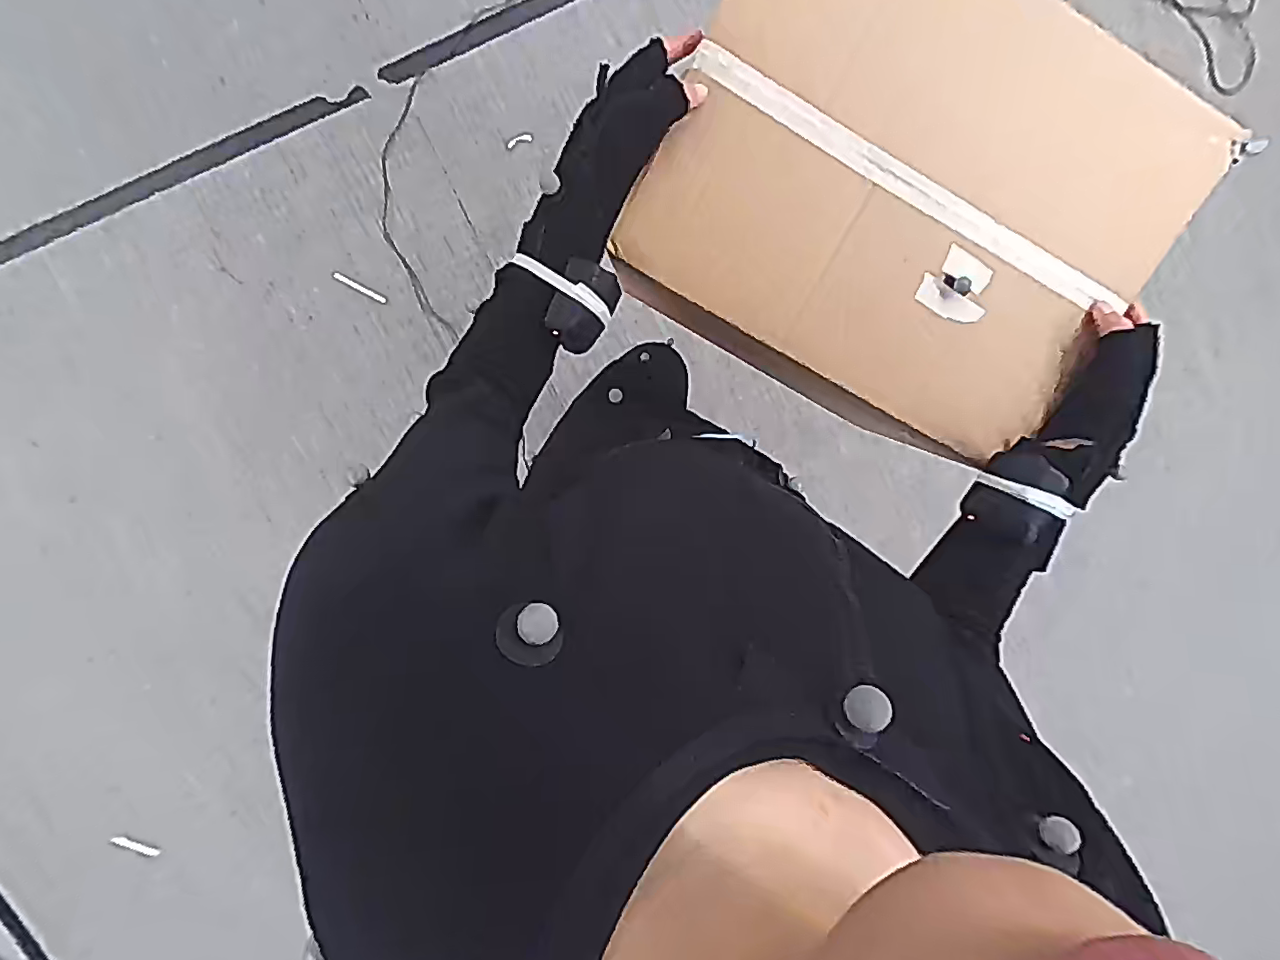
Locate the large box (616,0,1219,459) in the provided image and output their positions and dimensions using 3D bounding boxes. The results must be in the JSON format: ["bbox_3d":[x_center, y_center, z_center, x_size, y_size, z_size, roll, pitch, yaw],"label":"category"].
[{"bbox_3d":[0.219,-0.271,0.586,0.408,0.320,0.320,28,103,-7],"label":"large box"}]
